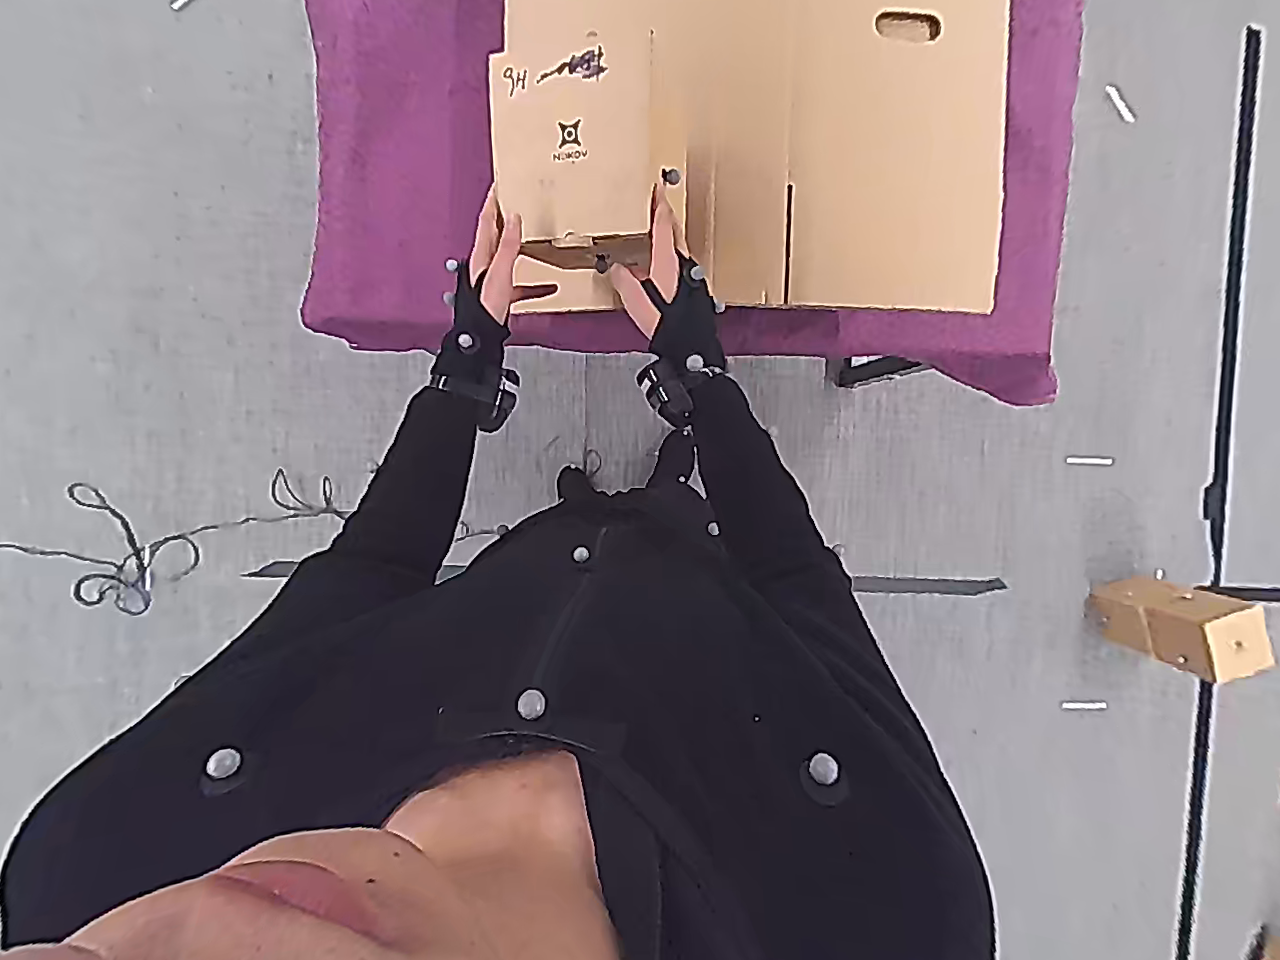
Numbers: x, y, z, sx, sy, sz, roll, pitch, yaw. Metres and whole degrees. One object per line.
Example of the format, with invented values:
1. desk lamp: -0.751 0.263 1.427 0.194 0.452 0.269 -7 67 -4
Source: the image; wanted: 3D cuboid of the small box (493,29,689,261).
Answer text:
1. small box: -0.042 -0.342 0.596 0.168 0.176 0.179 4 104 15
